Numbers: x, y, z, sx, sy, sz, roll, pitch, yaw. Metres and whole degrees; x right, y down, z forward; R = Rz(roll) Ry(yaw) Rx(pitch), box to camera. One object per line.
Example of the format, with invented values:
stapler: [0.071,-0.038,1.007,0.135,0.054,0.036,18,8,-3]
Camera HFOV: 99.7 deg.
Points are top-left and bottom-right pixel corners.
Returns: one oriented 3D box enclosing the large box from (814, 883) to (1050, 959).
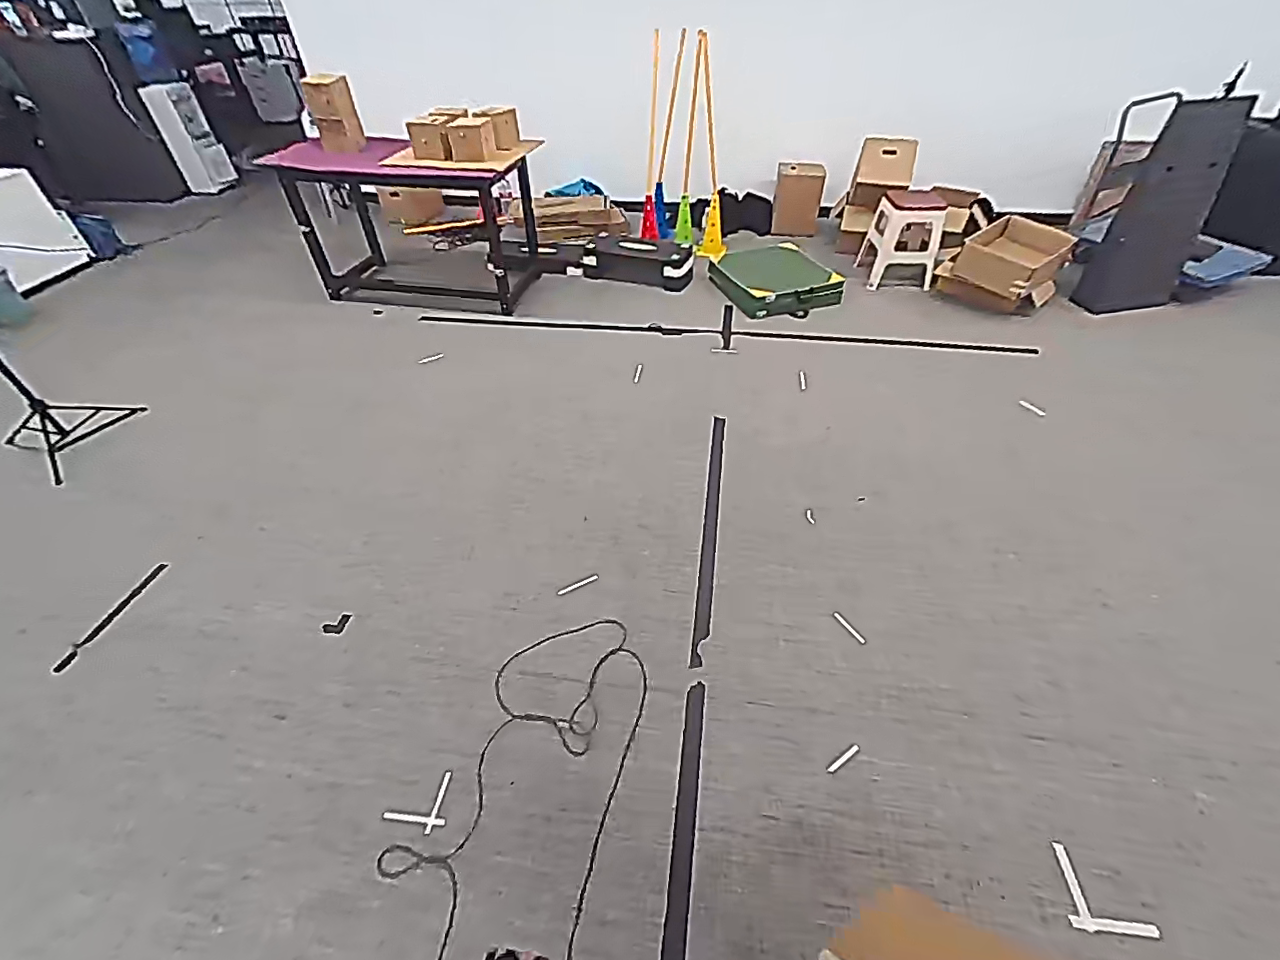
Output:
large box: [0.391,0.743,0.572,0.320,0.408,0.320,-27,80,-21]
